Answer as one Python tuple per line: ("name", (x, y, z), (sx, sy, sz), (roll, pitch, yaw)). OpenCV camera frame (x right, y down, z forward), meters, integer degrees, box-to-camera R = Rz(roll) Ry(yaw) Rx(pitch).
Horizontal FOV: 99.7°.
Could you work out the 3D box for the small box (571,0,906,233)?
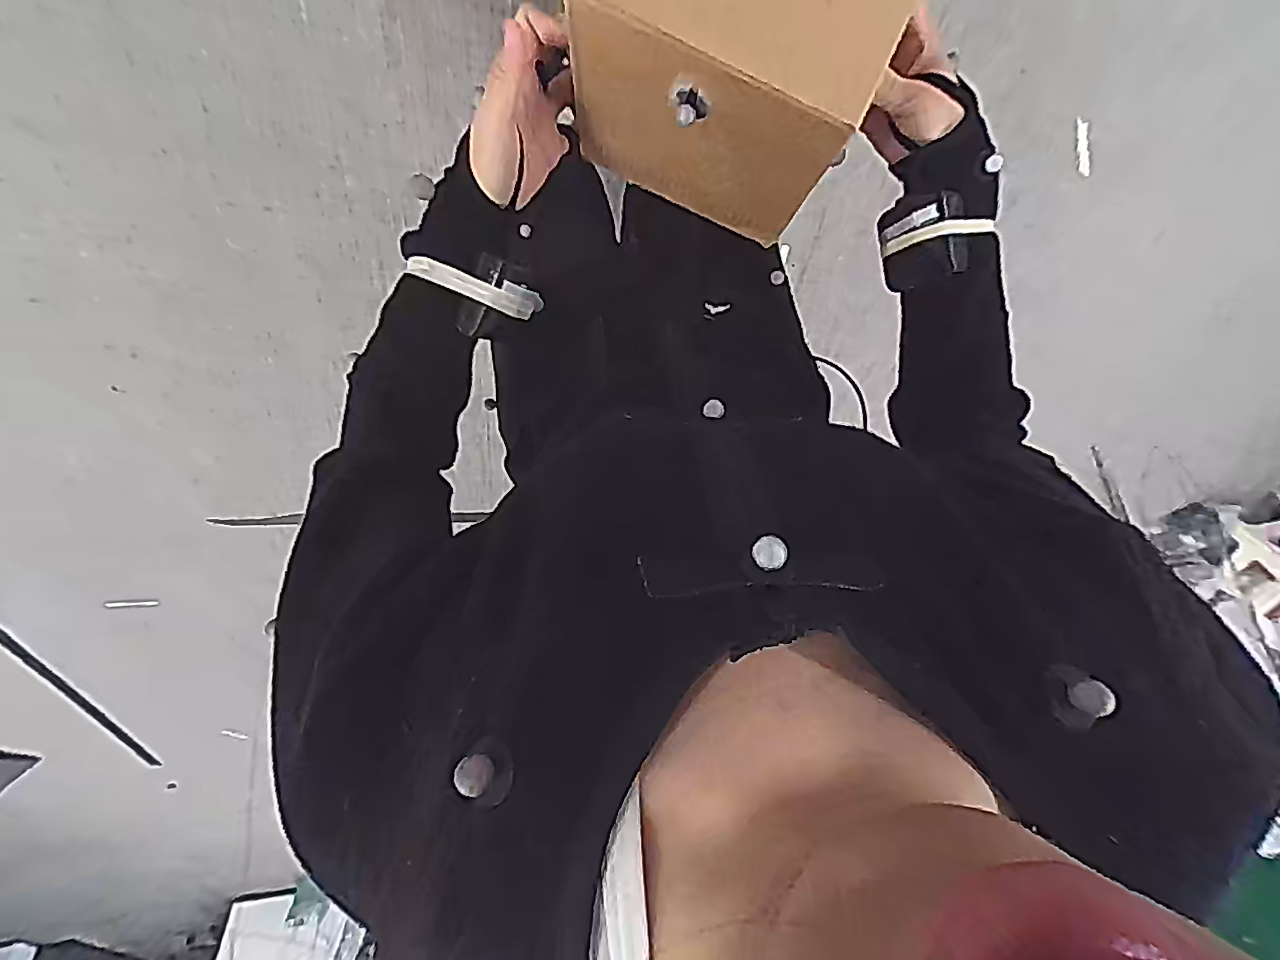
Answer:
("small box", (0.066, -0.300, 0.364), (0.179, 0.176, 0.168), (23, 90, -1))
